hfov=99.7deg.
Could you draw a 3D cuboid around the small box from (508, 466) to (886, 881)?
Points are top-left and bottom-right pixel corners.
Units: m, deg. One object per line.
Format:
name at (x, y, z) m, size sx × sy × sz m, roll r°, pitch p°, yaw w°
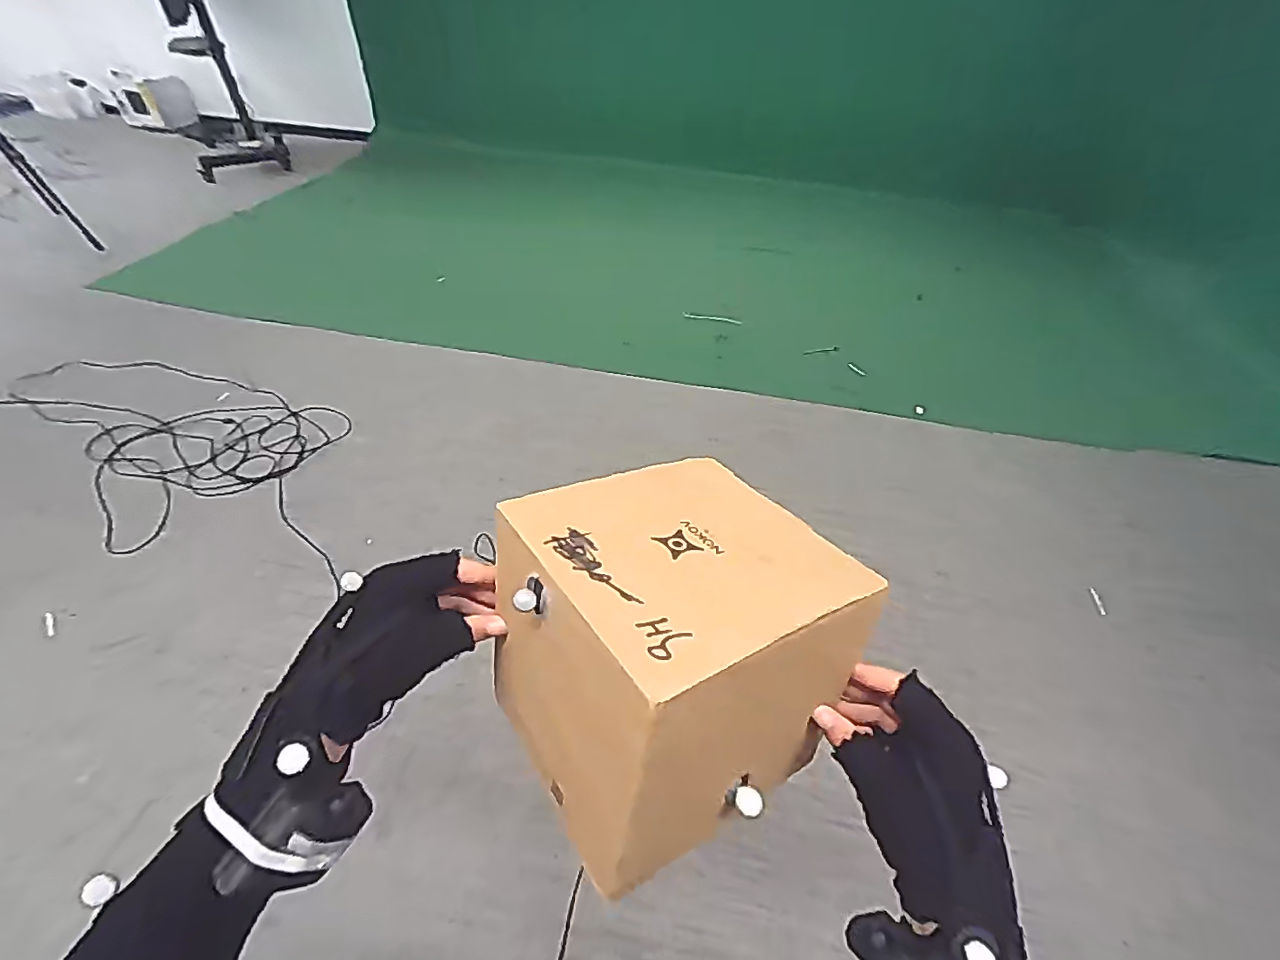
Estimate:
small box at (0.022, 0.111, 0.367) m, size 0.179 × 0.176 × 0.168 m, roll -12°, pitch 34°, yaw -34°
